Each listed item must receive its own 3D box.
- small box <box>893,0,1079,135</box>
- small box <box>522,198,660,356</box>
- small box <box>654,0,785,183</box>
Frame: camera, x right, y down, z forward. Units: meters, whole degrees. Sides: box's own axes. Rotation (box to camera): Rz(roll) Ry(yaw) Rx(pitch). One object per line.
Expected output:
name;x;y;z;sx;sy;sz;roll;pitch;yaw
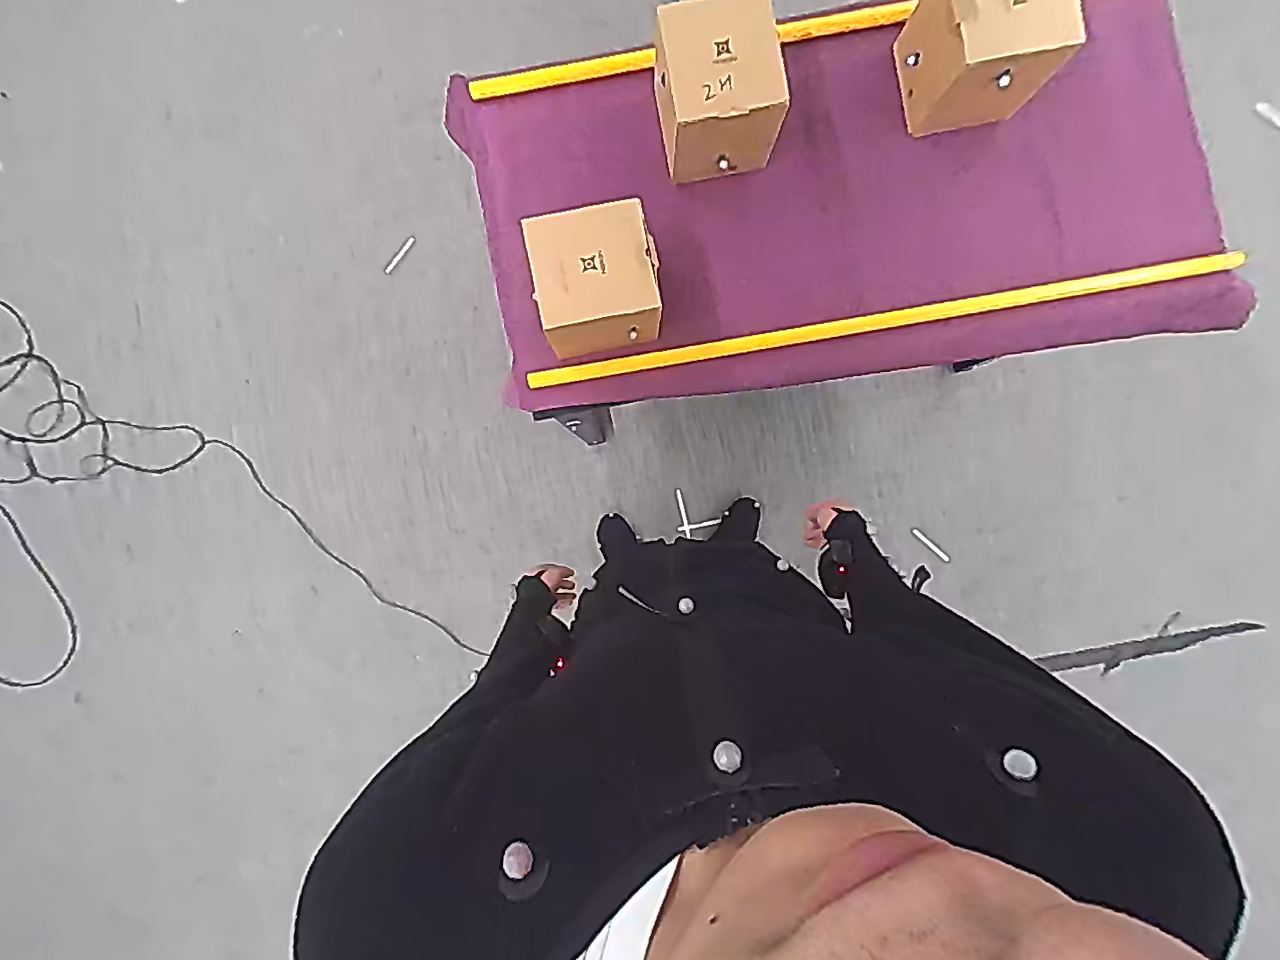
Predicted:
small box;0.533;-0.687;0.854;0.179;0.176;0.168;-10;90;1
small box;-0.073;-0.308;0.851;0.179;0.176;0.168;-11;88;-2
small box;0.116;-0.611;0.857;0.168;0.176;0.179;-10;90;1
